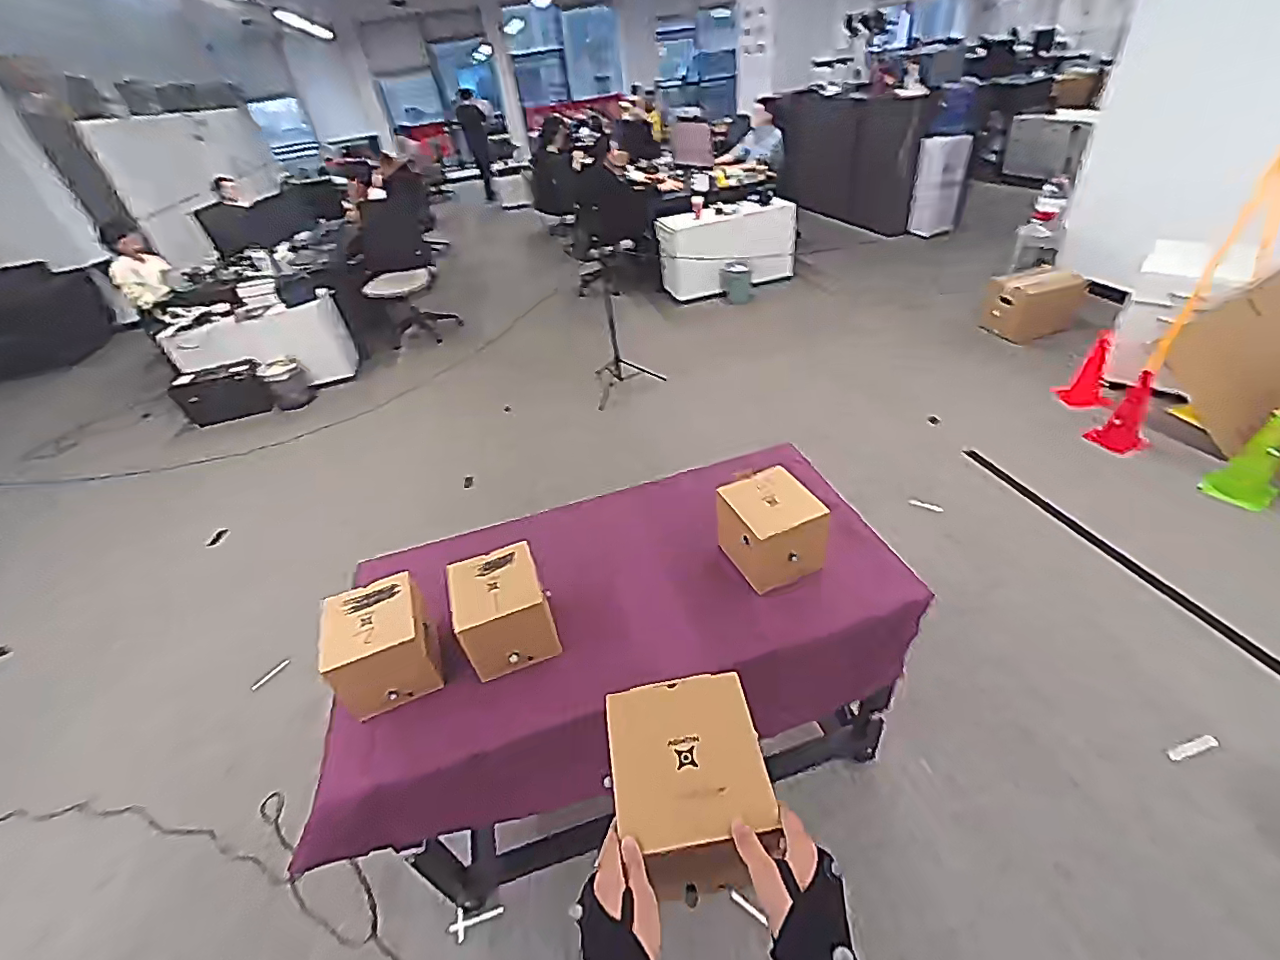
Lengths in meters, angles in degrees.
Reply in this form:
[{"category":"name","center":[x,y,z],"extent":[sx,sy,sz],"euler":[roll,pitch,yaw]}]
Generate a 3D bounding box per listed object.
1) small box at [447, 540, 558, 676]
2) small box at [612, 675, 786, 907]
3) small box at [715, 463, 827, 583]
[{"category":"small box","center":[-0.275,0.255,1.085],"extent":[0.168,0.176,0.179],"euler":[-18,40,-11]},{"category":"small box","center":[0.060,0.361,0.634],"extent":[0.168,0.176,0.179],"euler":[-8,38,-1]},{"category":"small box","center":[0.279,0.098,1.168],"extent":[0.168,0.176,0.179],"euler":[-20,39,-13]}]
